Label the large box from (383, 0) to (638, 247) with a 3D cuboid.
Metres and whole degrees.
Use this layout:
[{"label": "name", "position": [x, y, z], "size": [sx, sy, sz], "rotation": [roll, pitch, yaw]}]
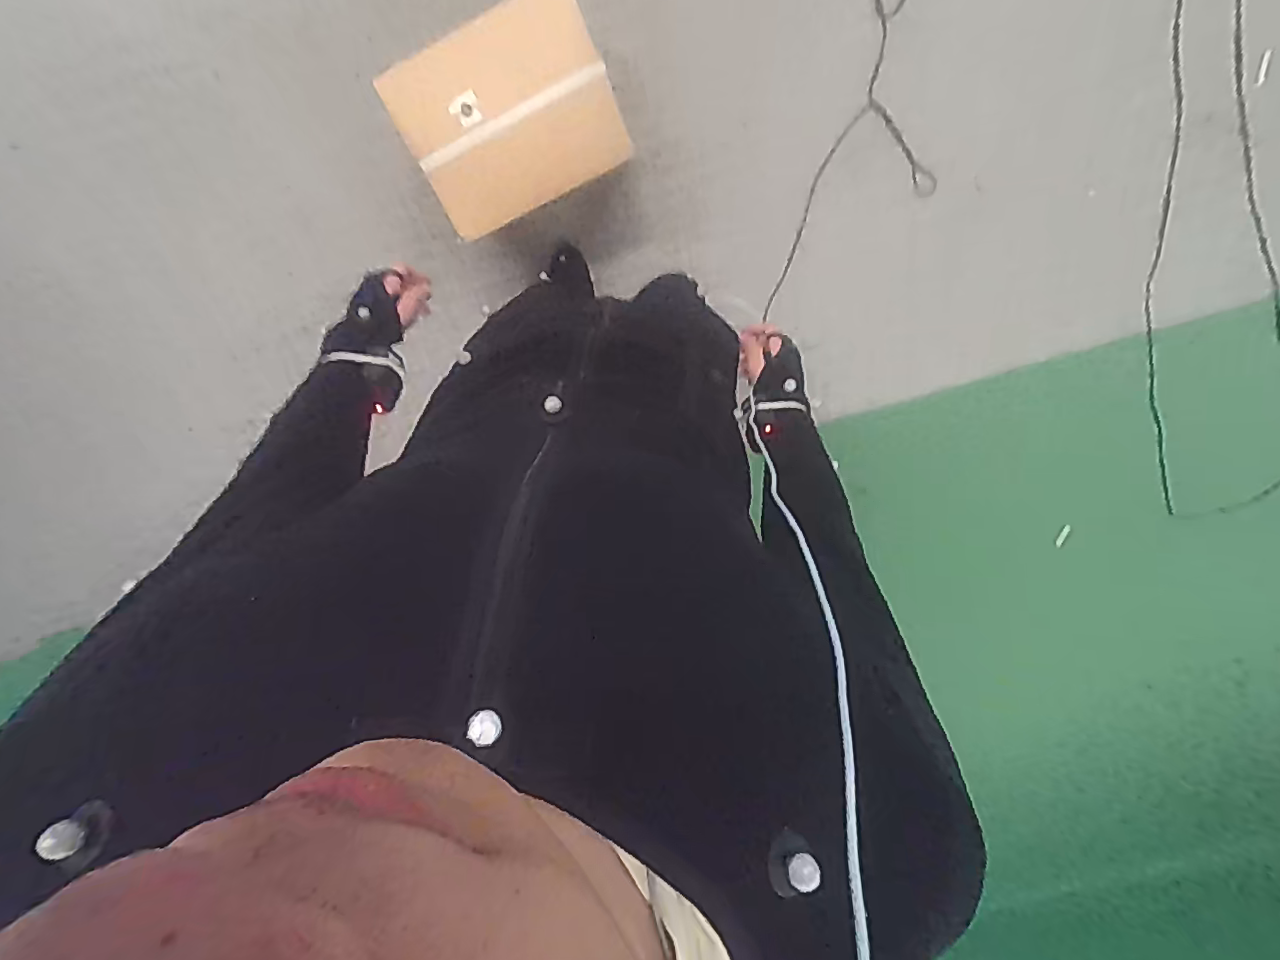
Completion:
[{"label": "large box", "position": [-0.253, -0.765, 1.179], "size": [0.408, 0.320, 0.320], "rotation": [-23, 117, 8]}]
